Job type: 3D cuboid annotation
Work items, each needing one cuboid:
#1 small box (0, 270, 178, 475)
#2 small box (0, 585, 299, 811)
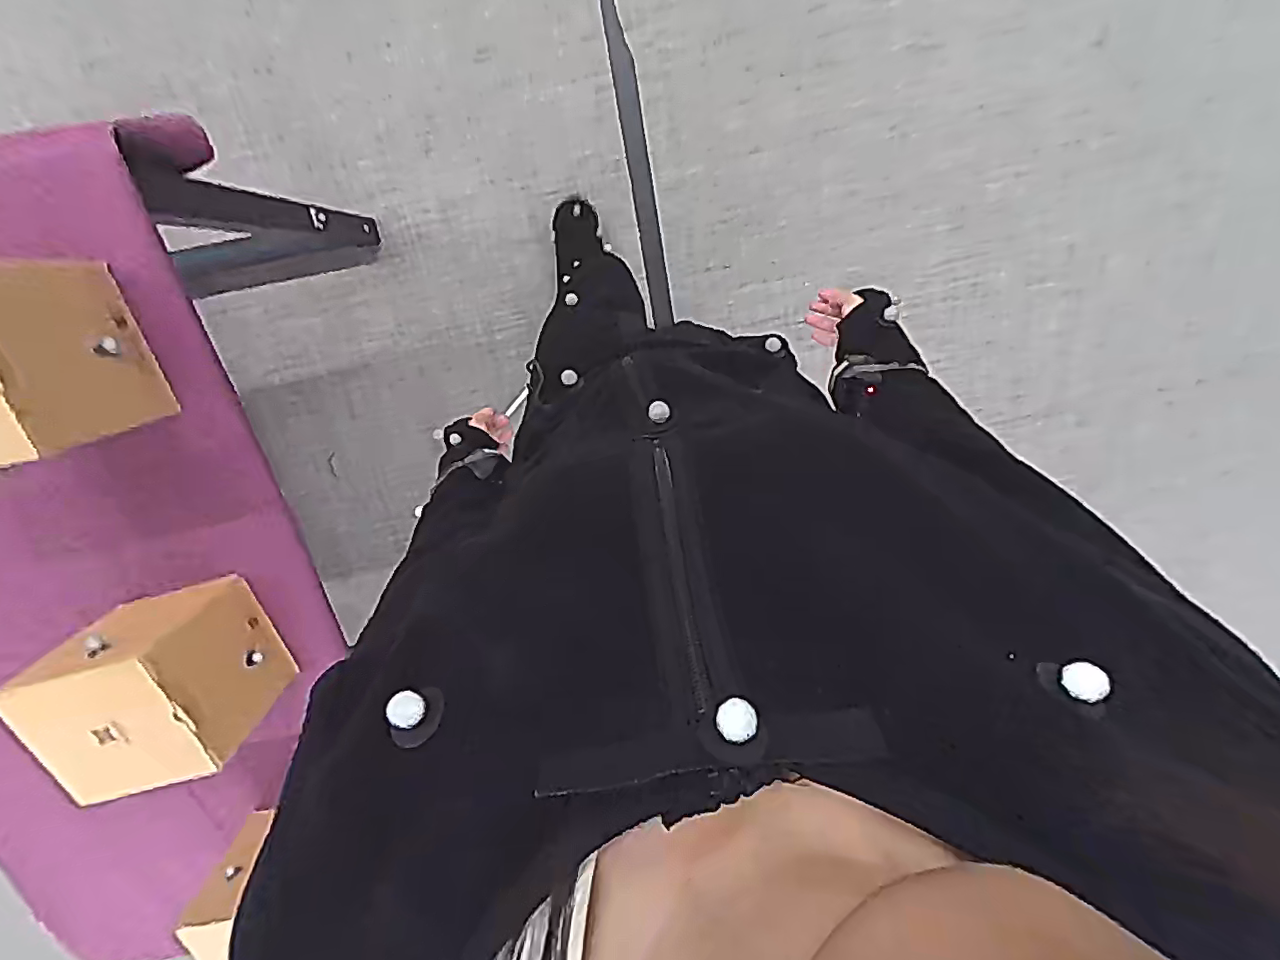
[{"bbox_3d":[-0.619,-0.100,0.521,0.179,0.176,0.168,-11,112,1],"label":"small box"},{"bbox_3d":[-0.570,0.254,0.658,0.179,0.176,0.168,-15,111,2],"label":"small box"}]
